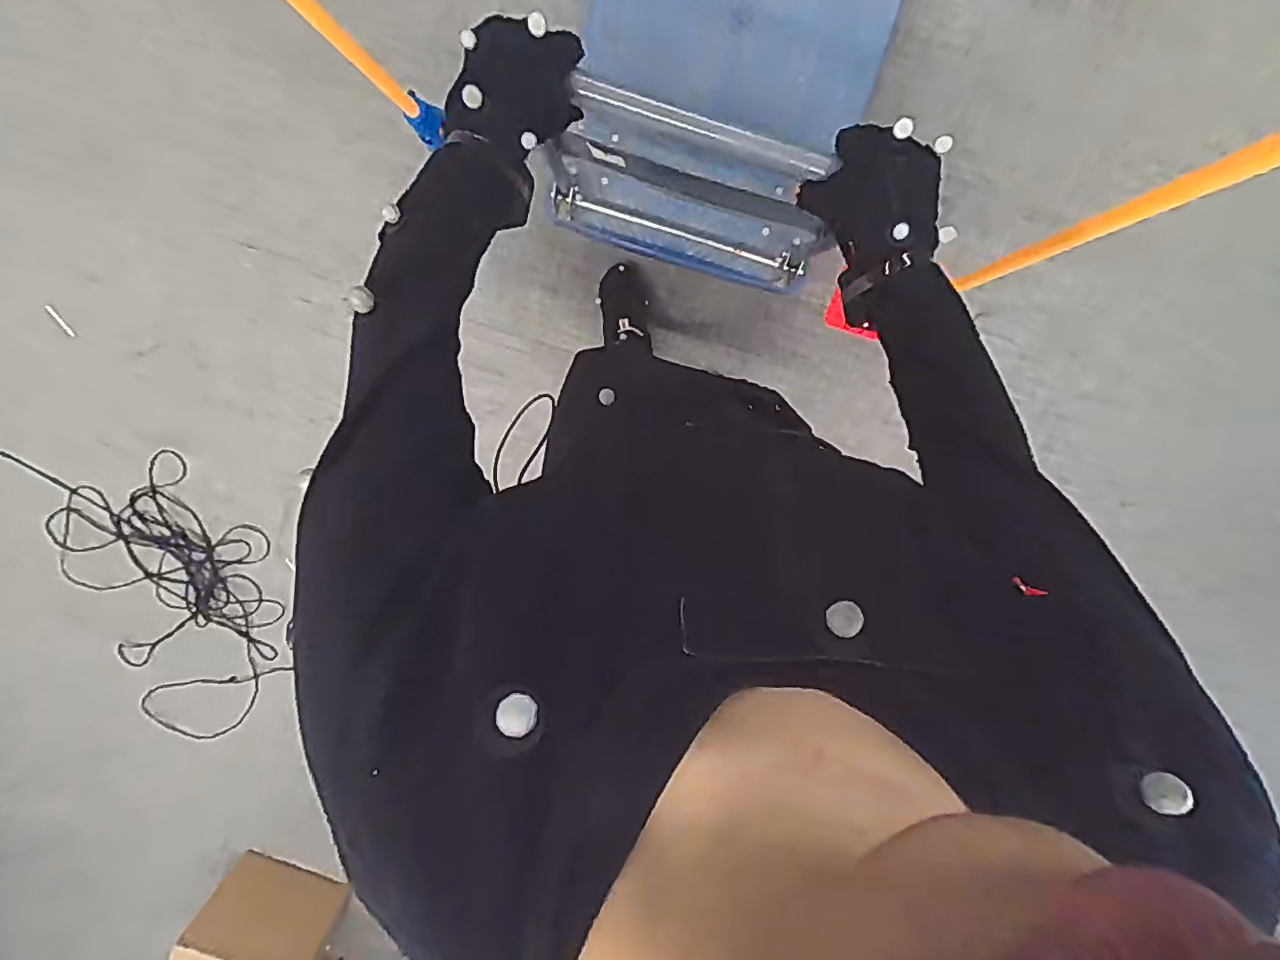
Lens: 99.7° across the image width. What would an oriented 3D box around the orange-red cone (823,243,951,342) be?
[{"bbox_3d":[0.569,-0.417,1.181,0.199,0.360,0.198,18,106,-2],"label":"orange-red cone"}]
